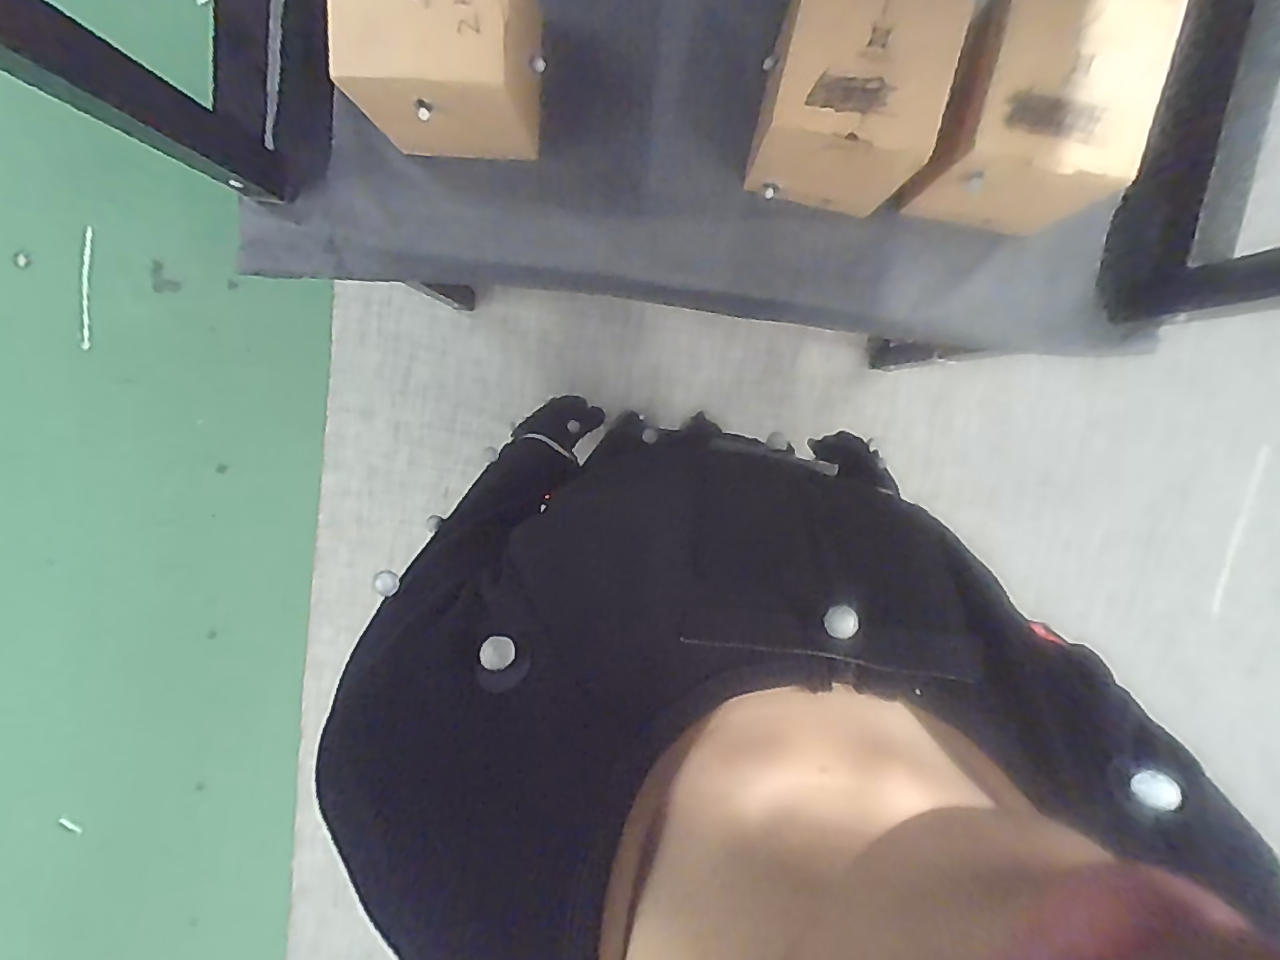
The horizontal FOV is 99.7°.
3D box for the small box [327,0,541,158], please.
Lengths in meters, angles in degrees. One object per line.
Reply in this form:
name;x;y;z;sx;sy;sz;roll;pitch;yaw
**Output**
small box;-0.217;-0.485;0.604;0.179;0.176;0.168;3;98;0
